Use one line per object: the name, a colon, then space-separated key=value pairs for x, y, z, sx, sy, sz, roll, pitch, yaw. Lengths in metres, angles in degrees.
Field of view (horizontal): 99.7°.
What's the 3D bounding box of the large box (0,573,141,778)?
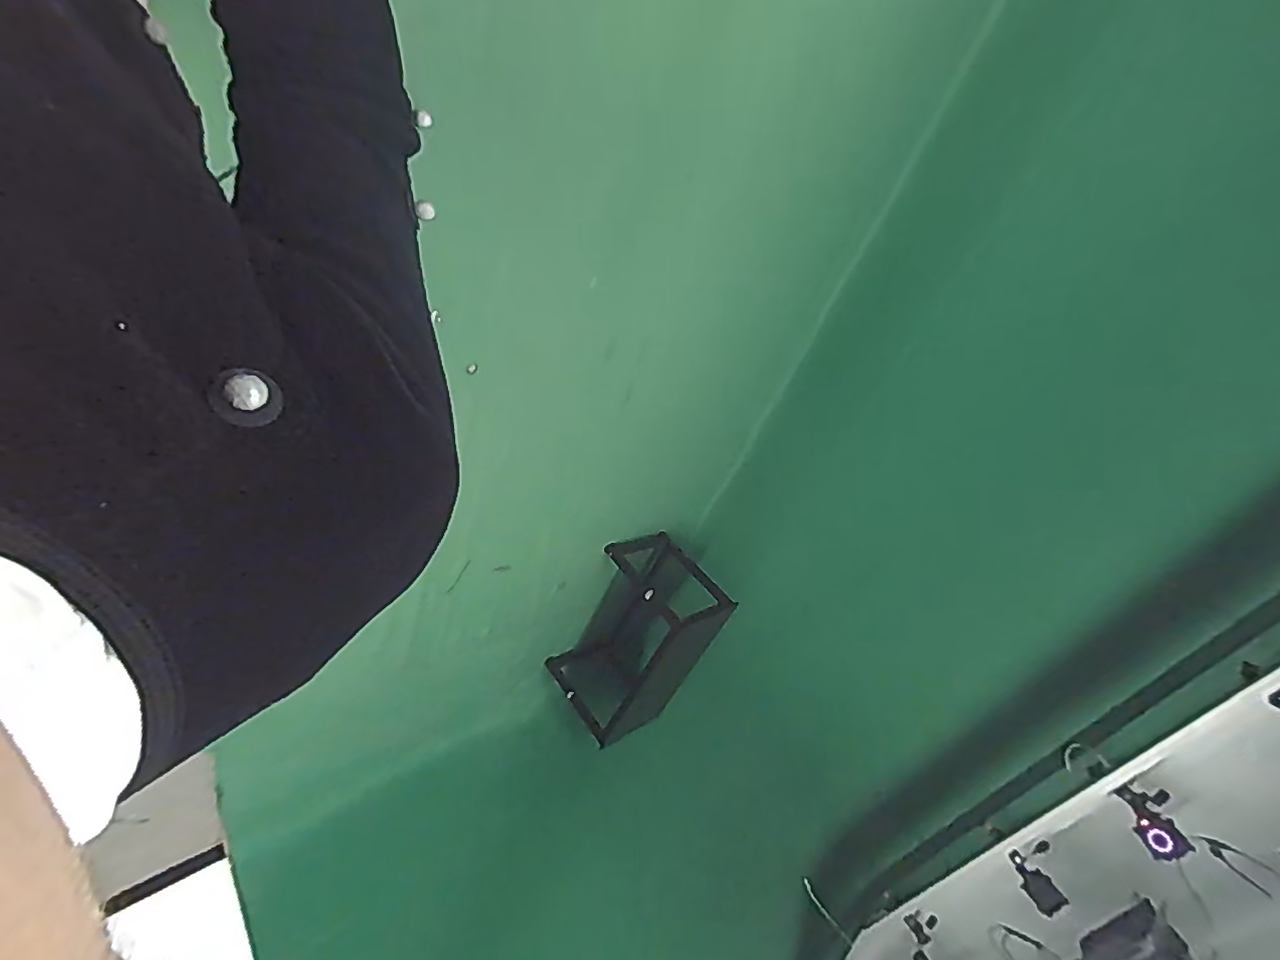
large box: x=-1.698 y=0.532 z=1.451 sx=0.408 sy=0.320 sz=0.320 roll=-35 pitch=149 yaw=-20
